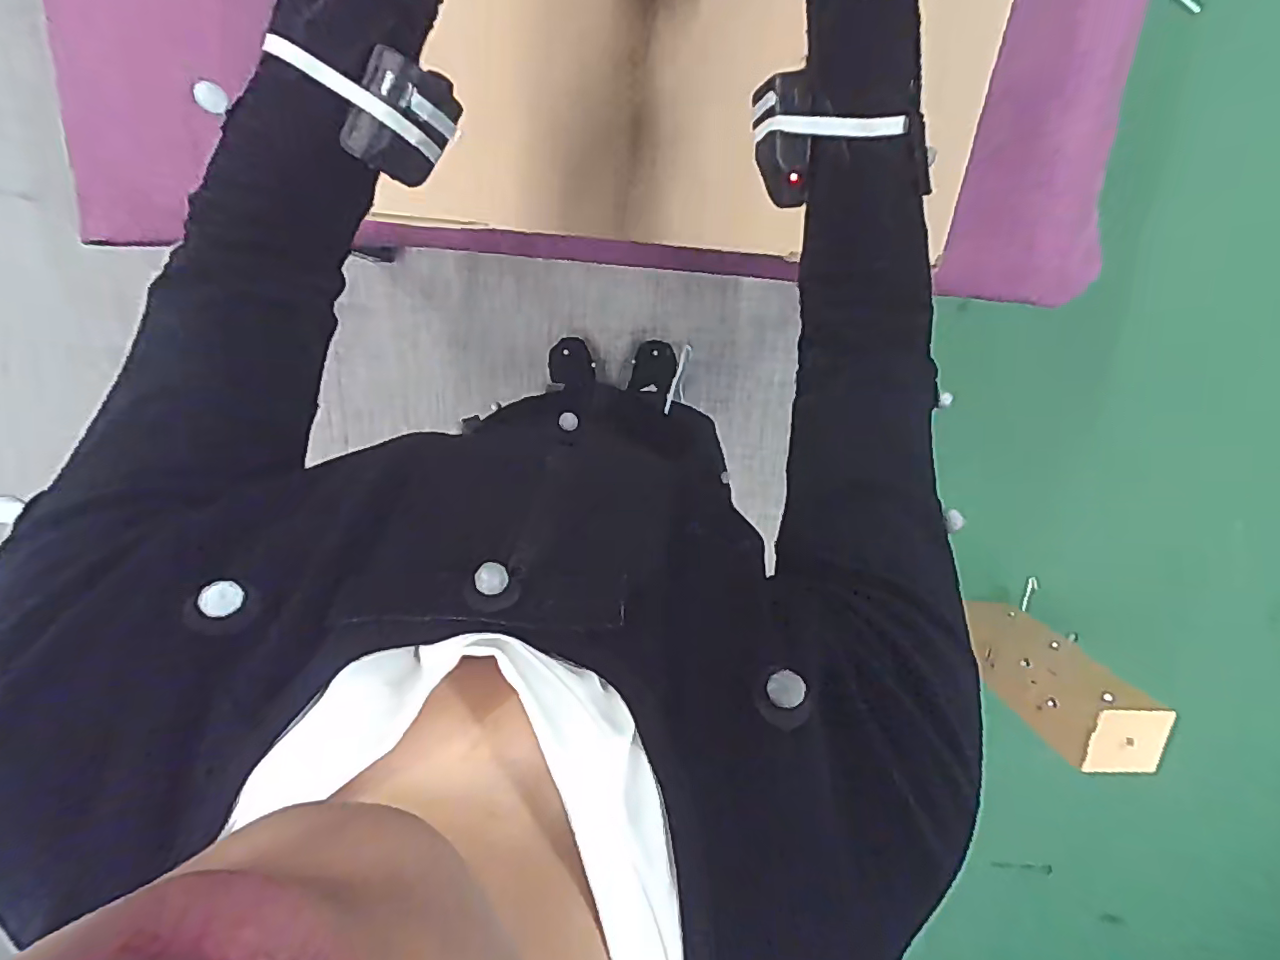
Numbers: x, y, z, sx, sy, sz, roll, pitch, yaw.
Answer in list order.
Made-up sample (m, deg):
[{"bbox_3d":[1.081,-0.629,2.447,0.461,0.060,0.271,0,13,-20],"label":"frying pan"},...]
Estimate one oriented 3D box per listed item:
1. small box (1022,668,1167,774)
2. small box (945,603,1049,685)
[{"bbox_3d":[1.058,0.561,1.273,0.179,0.176,0.168,2,105,-4],"label":"small box"},{"bbox_3d":[1.038,0.477,1.589,0.179,0.176,0.168,5,105,-4],"label":"small box"}]
